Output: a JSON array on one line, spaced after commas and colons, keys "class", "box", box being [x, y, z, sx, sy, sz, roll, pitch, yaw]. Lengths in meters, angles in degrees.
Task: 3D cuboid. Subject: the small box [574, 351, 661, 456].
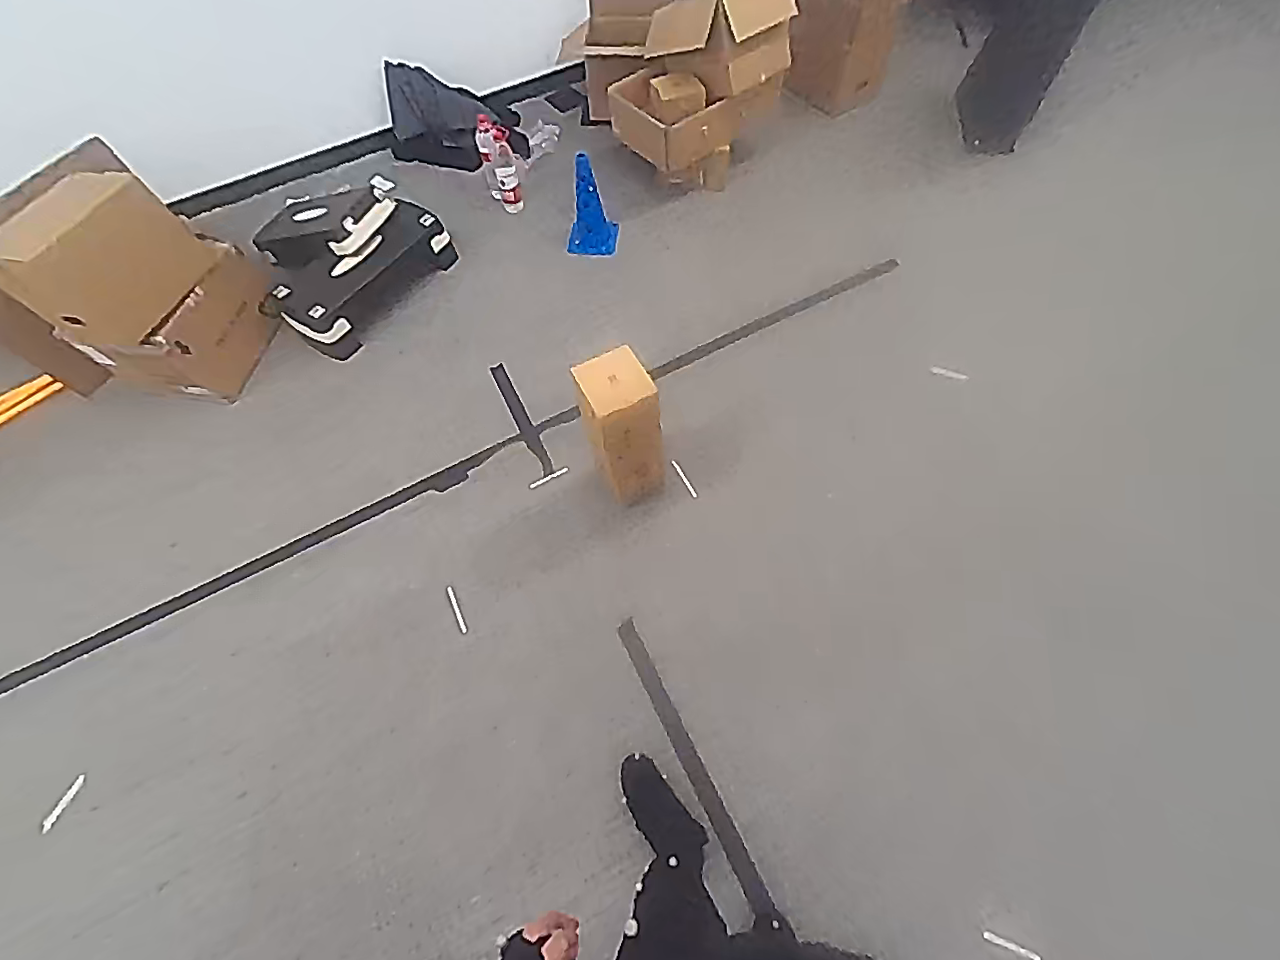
[{"class": "small box", "box": [-0.056, -0.195, 1.408, 0.168, 0.176, 0.179, -26, 64, -11]}]

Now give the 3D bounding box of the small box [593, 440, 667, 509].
[{"class": "small box", "box": [-0.030, -0.040, 1.696, 0.168, 0.176, 0.179, -29, 65, -11]}]
